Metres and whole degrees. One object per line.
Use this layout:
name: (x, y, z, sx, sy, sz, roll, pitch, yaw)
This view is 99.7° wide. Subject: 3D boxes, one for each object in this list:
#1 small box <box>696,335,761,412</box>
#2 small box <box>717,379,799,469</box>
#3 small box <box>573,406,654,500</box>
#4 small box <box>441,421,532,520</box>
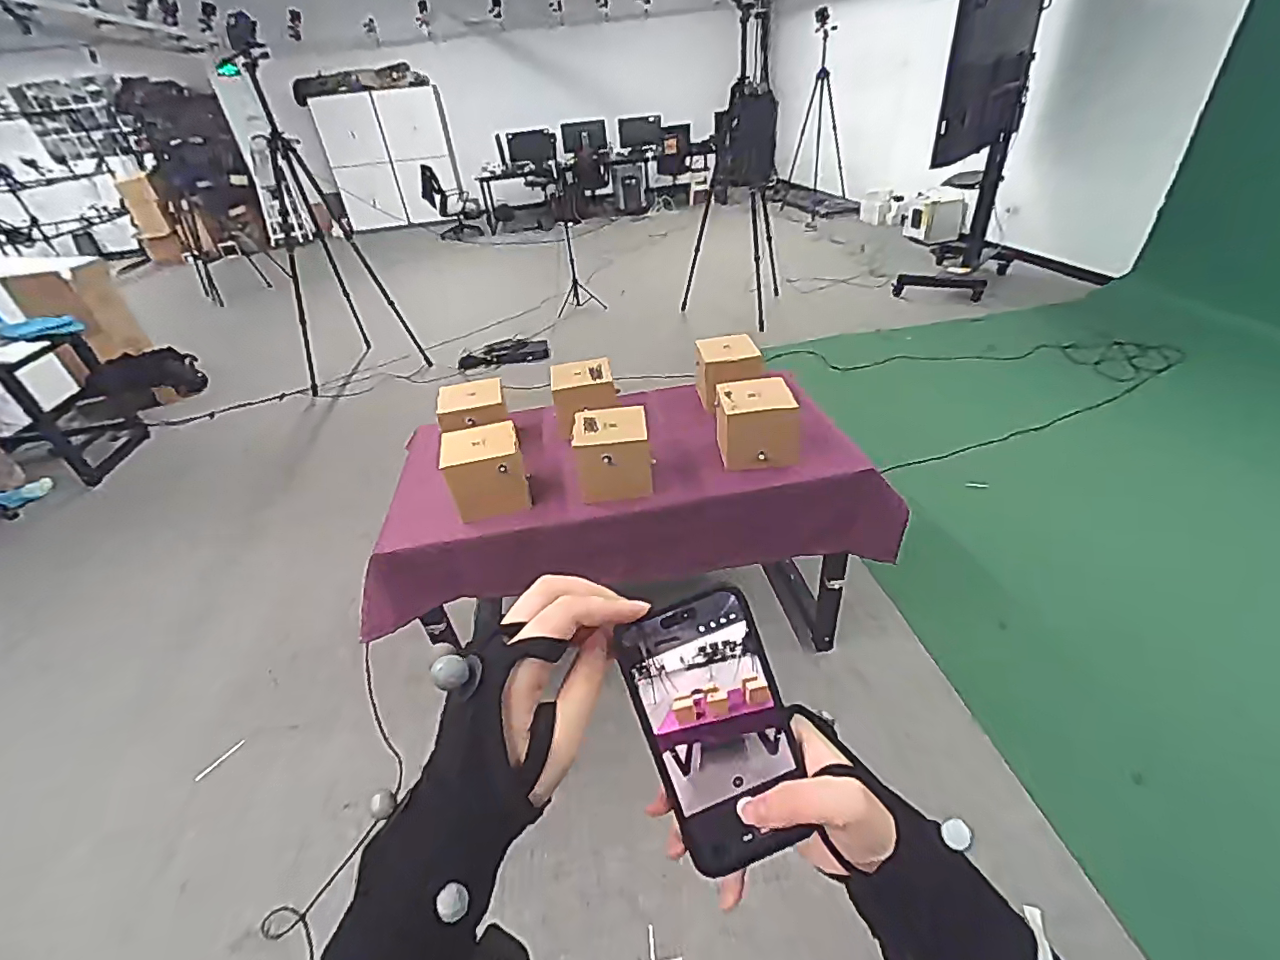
small box: (0.264, -0.325, 1.646, 0.168, 0.176, 0.179, -8, 36, -1)
small box: (0.295, -0.144, 1.392, 0.179, 0.176, 0.168, -5, 35, 2)
small box: (-0.063, -0.064, 1.339, 0.179, 0.176, 0.168, -5, 36, 0)
small box: (-0.373, -0.021, 1.329, 0.179, 0.176, 0.168, -12, 36, -10)
